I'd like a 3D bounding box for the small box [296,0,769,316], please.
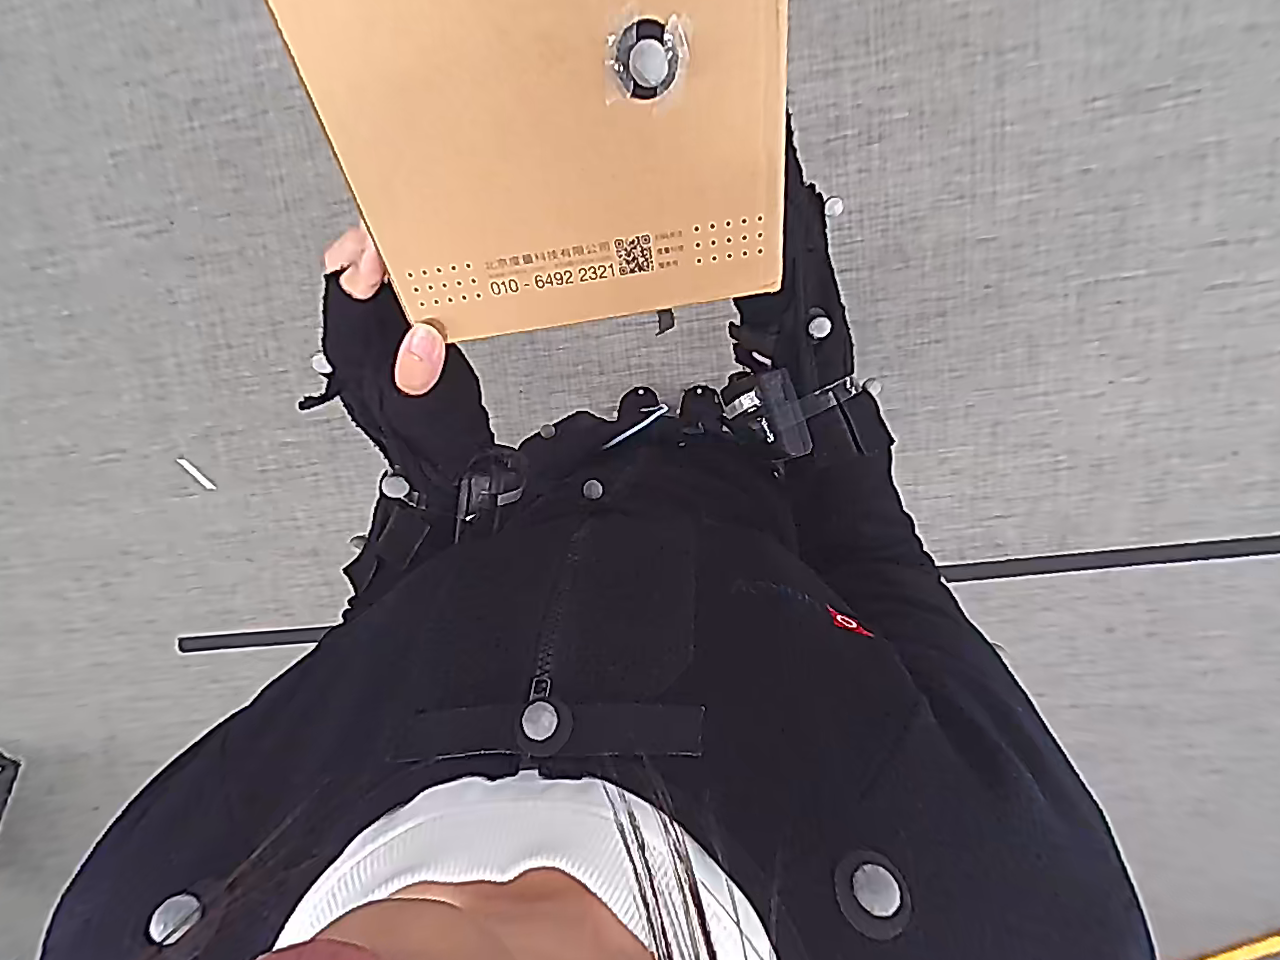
[{"bbox_3d":[-0.031,-0.193,0.272,0.168,0.179,0.176,-7,130,5],"label":"small box"}]
